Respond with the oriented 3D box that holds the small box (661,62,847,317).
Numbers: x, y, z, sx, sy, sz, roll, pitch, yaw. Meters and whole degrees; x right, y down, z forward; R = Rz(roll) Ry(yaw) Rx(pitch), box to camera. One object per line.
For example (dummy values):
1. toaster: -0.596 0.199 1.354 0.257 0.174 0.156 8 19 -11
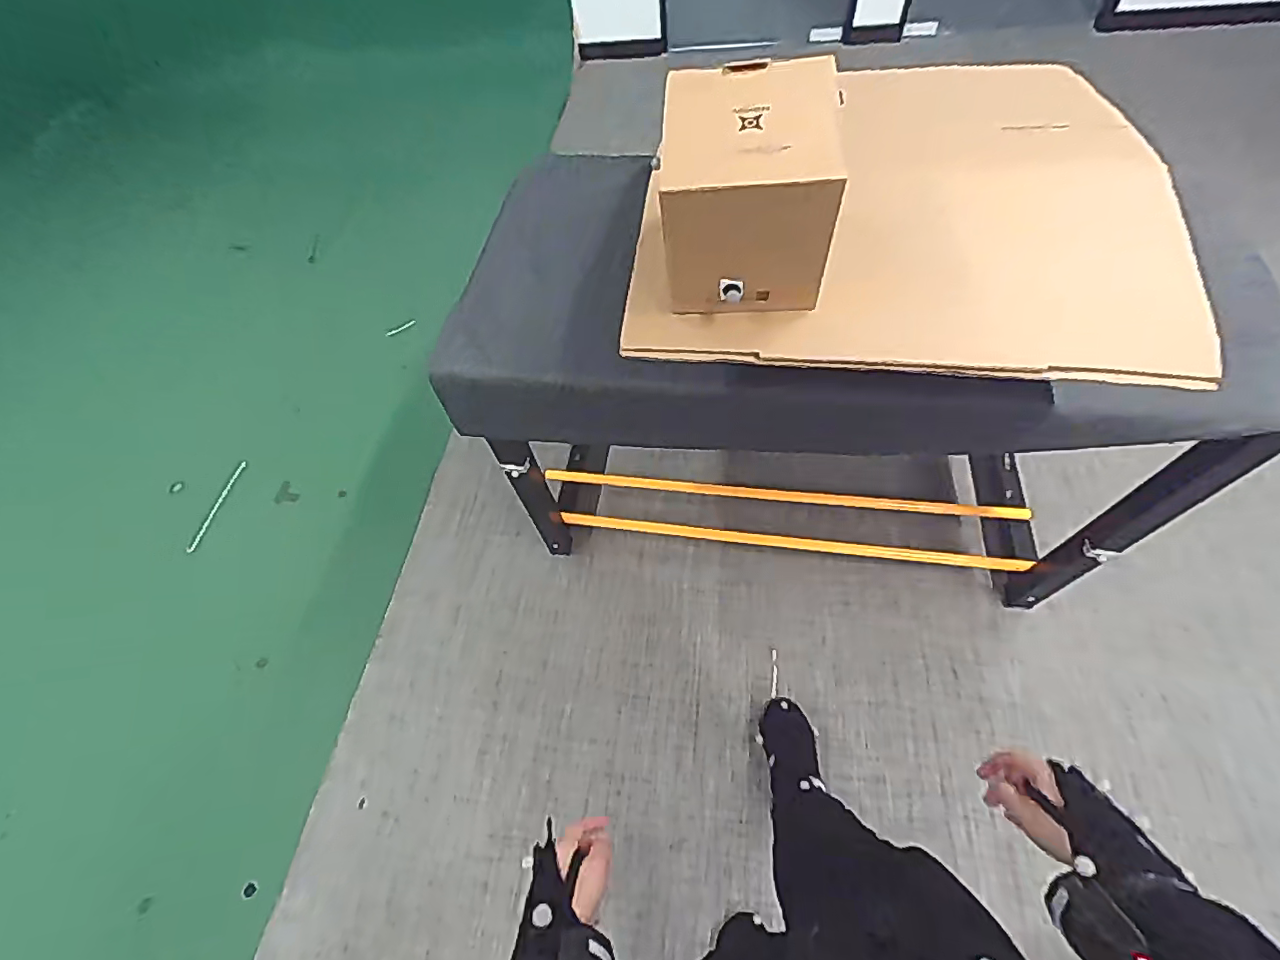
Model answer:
1. small box: 0.114 -0.301 0.583 0.168 0.176 0.179 -1 67 9
